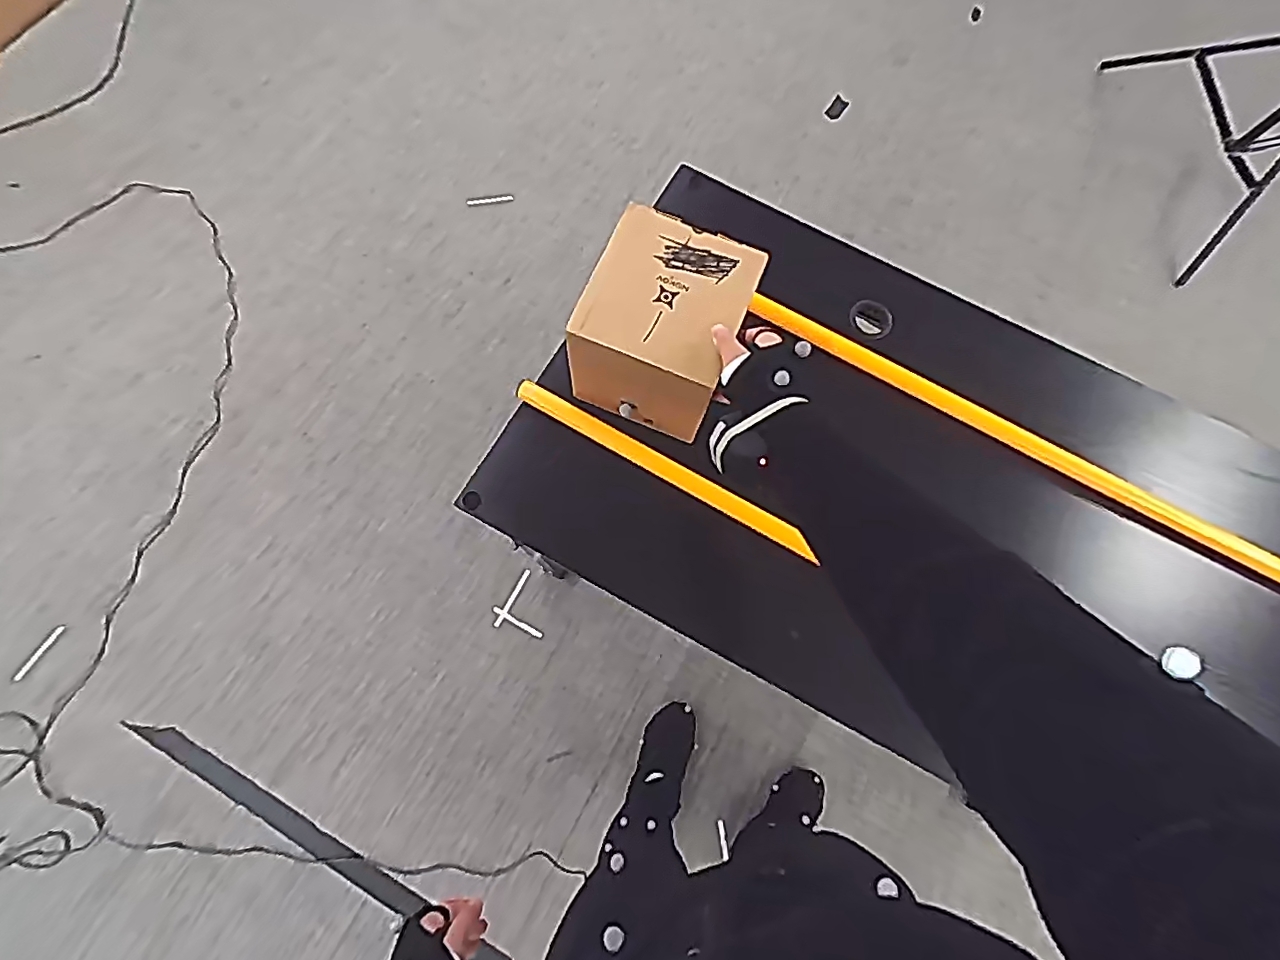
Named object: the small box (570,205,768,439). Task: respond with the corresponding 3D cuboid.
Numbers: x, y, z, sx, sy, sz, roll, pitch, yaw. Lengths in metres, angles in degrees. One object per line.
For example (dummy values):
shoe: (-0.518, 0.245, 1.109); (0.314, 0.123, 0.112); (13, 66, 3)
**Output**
small box: (0.029, -0.175, 0.645); (0.168, 0.176, 0.179); (22, 75, 3)
